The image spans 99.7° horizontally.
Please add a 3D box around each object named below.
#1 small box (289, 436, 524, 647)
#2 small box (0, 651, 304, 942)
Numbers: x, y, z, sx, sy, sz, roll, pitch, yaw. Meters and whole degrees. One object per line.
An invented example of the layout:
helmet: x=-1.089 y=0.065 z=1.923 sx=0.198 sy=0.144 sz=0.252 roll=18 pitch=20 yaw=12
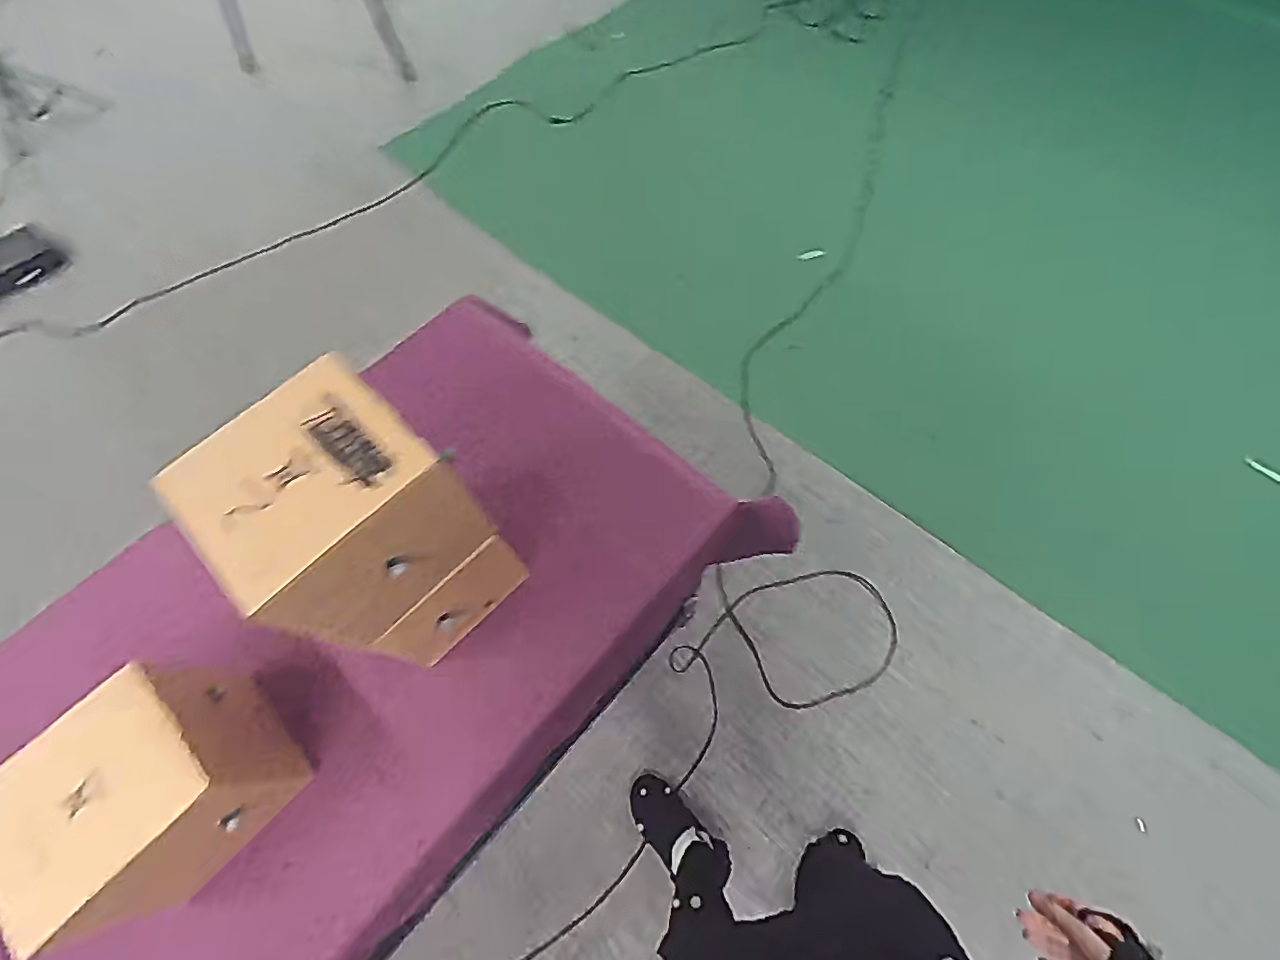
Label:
small box: x=-0.268 y=0.085 z=0.665 sx=0.179 sy=0.176 sz=0.168 roll=40 pitch=73 yaw=19
small box: x=-0.497 y=0.311 z=0.568 sx=0.168 sy=0.176 sz=0.179 roll=39 pitch=72 yaw=19
